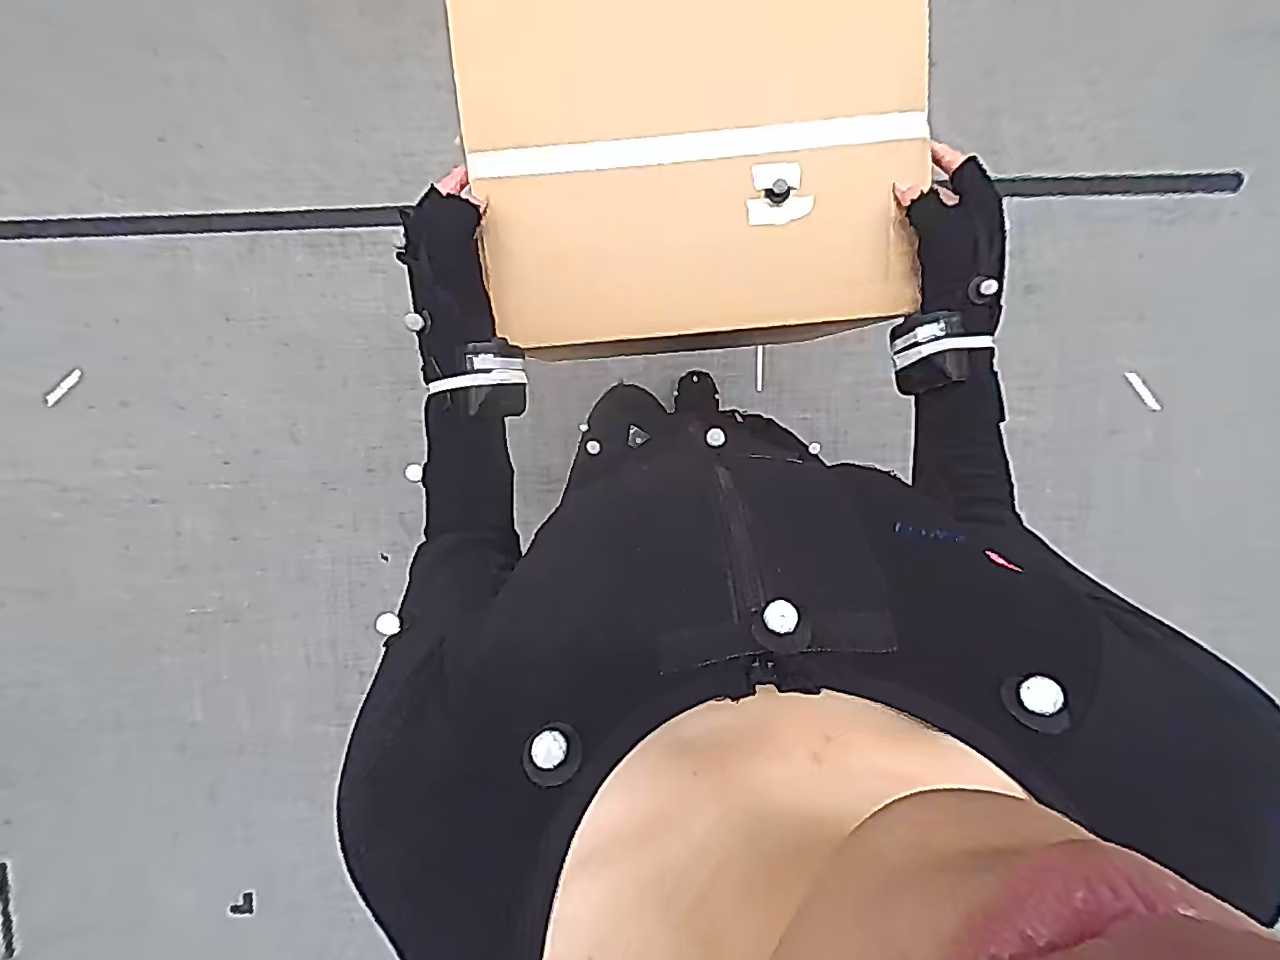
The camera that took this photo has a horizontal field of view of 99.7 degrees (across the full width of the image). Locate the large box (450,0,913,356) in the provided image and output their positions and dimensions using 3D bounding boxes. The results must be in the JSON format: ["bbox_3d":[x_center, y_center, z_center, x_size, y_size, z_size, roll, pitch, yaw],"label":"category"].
[{"bbox_3d":[0.042,-0.330,0.632,0.408,0.320,0.320,-5,100,-1],"label":"large box"}]
